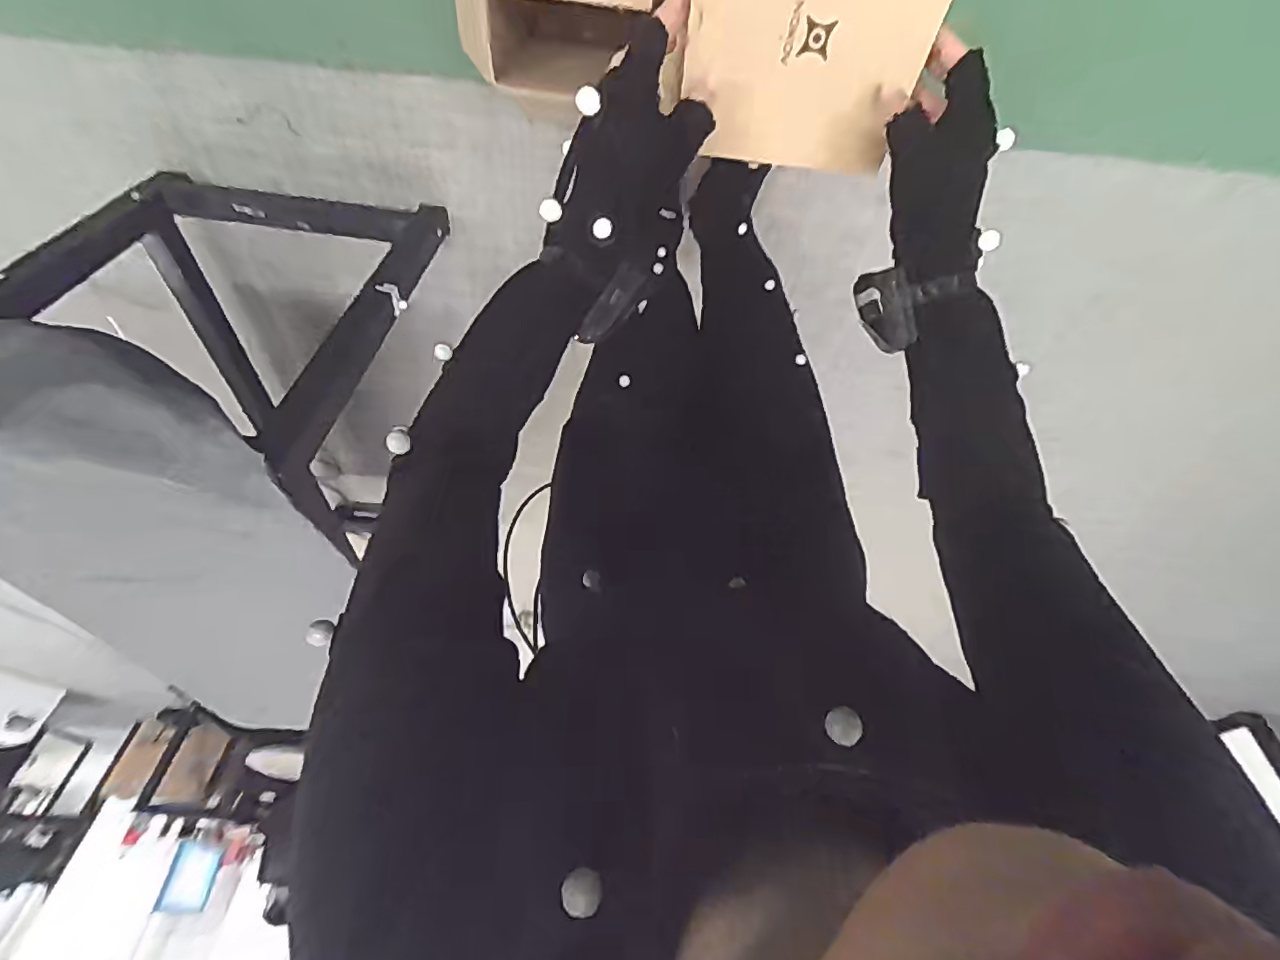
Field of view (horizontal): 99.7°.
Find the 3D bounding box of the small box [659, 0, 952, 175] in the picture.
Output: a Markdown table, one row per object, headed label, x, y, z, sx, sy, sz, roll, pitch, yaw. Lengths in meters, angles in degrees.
| label | x | y | z | sx | sy | sz | roll | pitch | yaw |
| --- | --- | --- | --- | --- | --- | --- | --- | --- | --- |
| small box | 0.112 | -0.362 | 0.411 | 0.179 | 0.176 | 0.168 | 5 | 141 | -5 |
